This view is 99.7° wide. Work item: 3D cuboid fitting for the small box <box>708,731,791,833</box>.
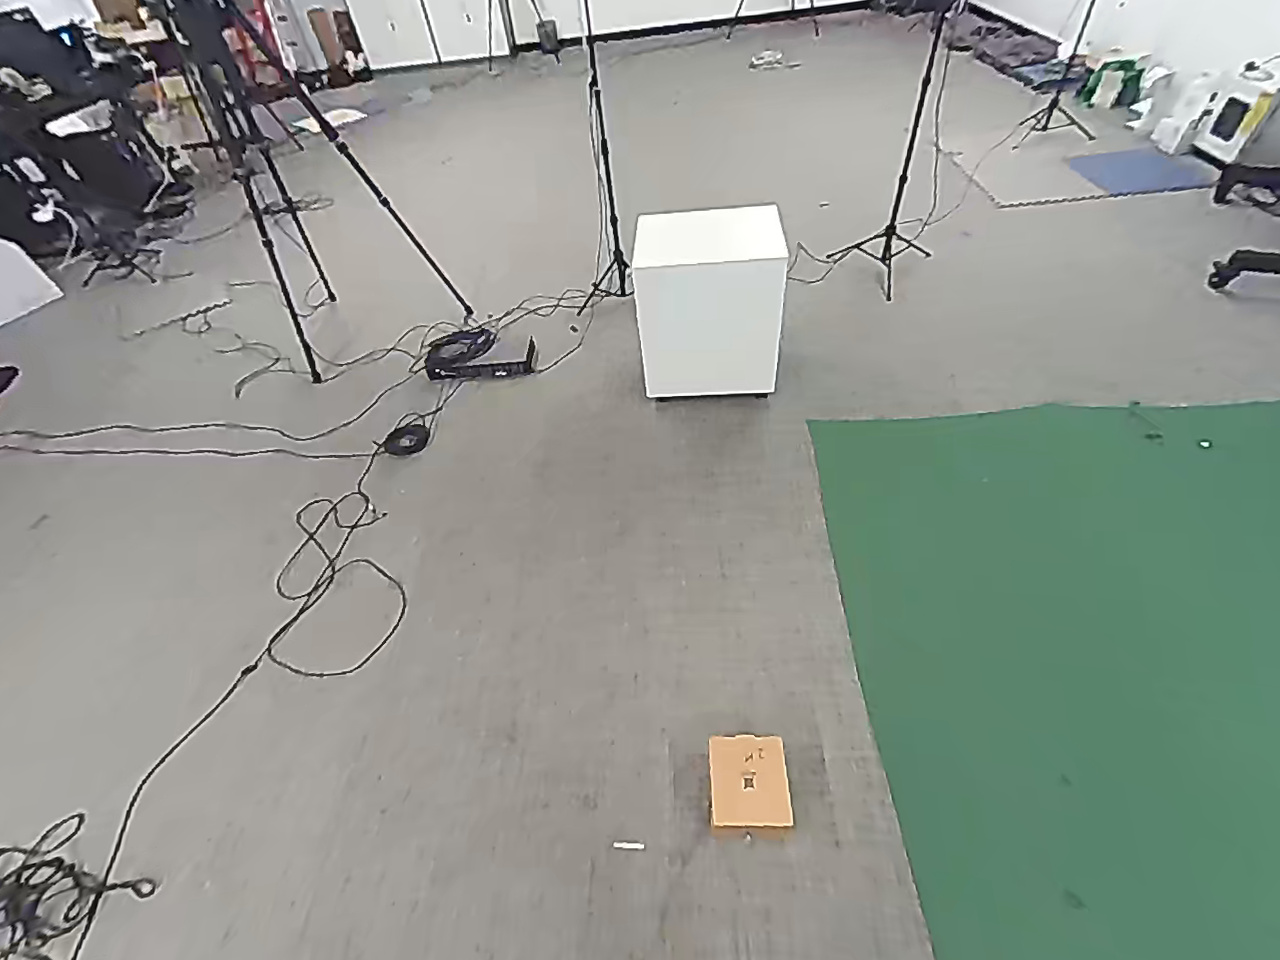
[{"bbox_3d":[0.240,0.684,1.221,0.168,0.176,0.179,-2,49,5],"label":"small box"}]
